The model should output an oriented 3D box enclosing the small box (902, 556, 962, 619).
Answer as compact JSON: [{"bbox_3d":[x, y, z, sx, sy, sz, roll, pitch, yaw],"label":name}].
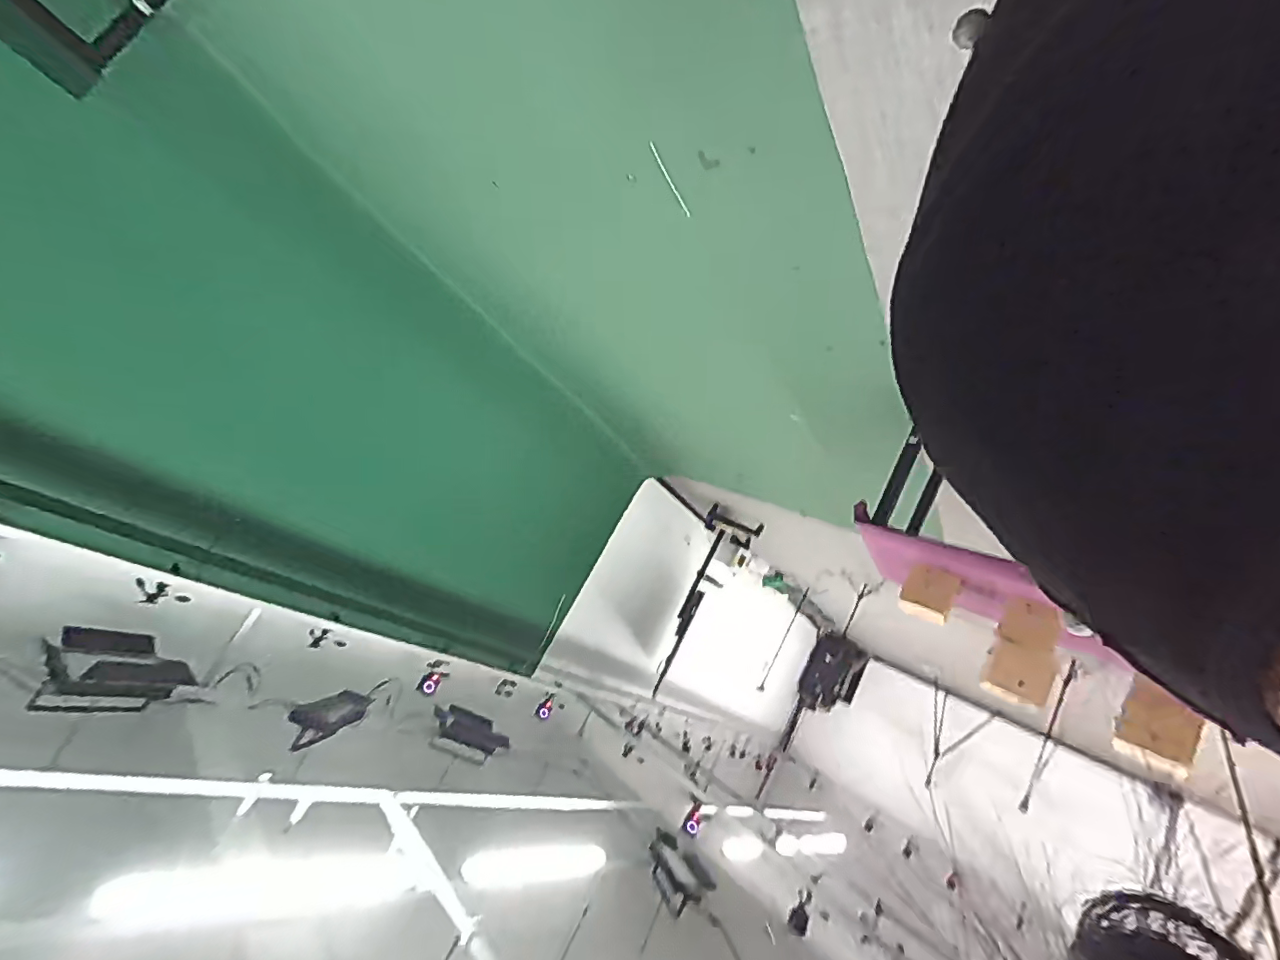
[{"bbox_3d":[1.141,0.415,2.111,0.168,0.176,0.179,20,166,37],"label":"small box"}]

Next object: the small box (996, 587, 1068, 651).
[{"bbox_3d":[1.380,0.501,1.905,0.168,0.176,0.179,20,165,38],"label":"small box"}]

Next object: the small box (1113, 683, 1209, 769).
[{"bbox_3d":[1.575,0.736,1.640,0.179,0.176,0.168,16,162,46],"label":"small box"}]

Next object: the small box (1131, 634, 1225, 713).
[{"bbox_3d":[1.659,0.601,1.671,0.179,0.176,0.168,18,164,45],"label":"small box"}]

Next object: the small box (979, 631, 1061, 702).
[{"bbox_3d":[1.308,0.643,1.865,0.179,0.176,0.168,23,168,28],"label":"small box"}]
